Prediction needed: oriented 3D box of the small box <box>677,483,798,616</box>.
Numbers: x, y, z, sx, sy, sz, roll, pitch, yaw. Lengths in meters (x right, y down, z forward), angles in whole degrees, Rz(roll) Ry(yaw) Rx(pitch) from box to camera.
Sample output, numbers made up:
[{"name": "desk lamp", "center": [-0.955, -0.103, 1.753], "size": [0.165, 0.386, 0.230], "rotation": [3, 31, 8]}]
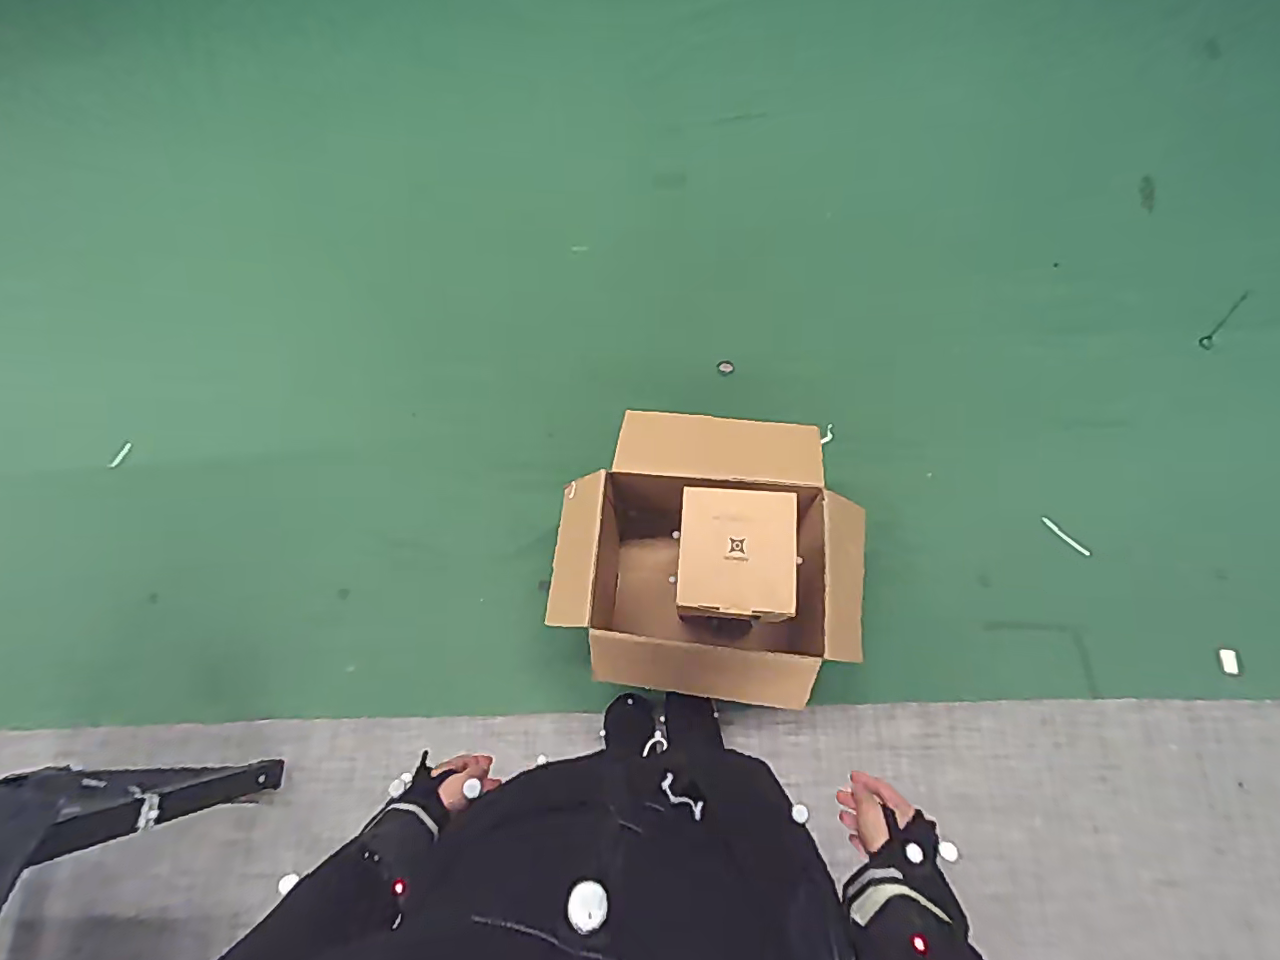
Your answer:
[{"name": "small box", "center": [0.147, 0.114, 0.837], "size": [0.168, 0.176, 0.179], "rotation": [3, 72, 6]}]
